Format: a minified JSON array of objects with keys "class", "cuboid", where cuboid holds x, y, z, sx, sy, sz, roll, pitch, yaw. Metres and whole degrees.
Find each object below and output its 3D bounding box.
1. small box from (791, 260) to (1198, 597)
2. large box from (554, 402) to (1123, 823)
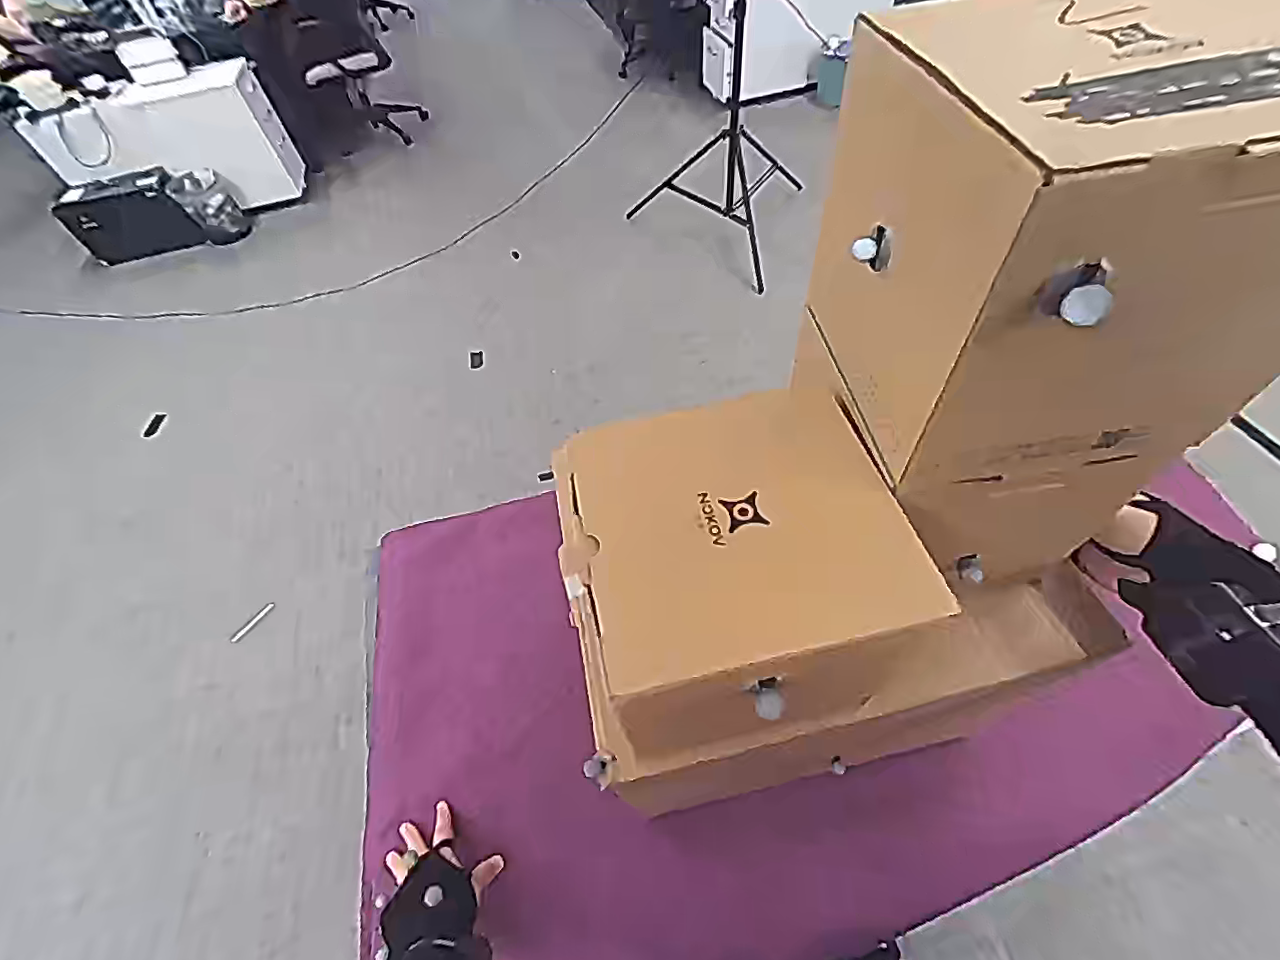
[{"class":"small box","cuboid":[0.222,-0.033,0.409,0.168,0.176,0.179,-9,54,1]},{"class":"large box","cuboid":[0.154,0.139,0.596,0.408,0.320,0.320,-15,52,-3]}]
